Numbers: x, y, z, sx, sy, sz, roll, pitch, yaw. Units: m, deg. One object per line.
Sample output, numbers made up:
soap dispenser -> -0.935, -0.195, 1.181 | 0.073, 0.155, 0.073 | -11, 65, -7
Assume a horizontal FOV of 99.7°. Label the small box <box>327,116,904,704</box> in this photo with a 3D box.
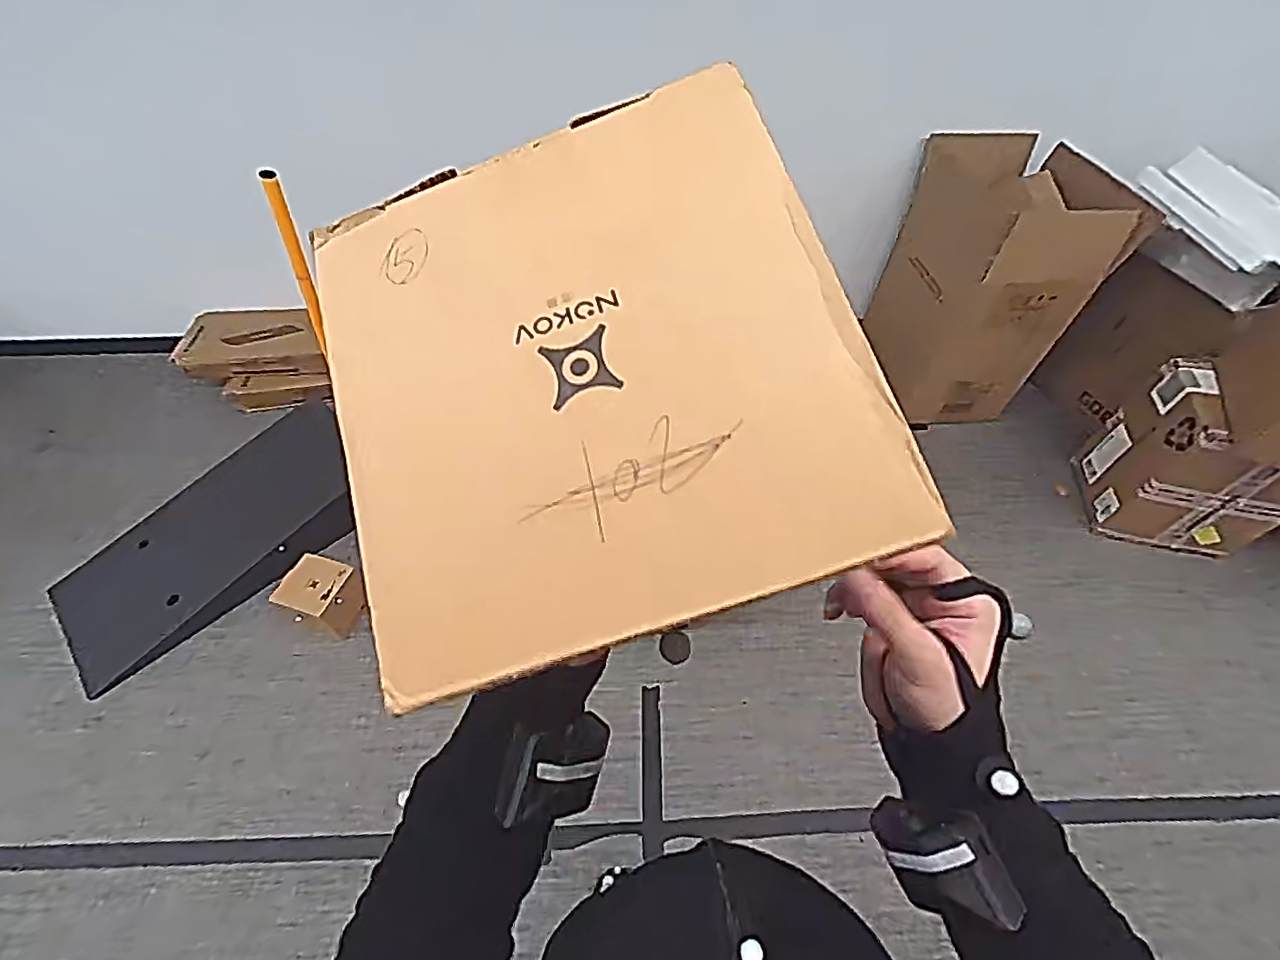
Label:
small box -> -0.011, -0.014, 0.261 | 0.168, 0.176, 0.179 | -19, 75, 5
